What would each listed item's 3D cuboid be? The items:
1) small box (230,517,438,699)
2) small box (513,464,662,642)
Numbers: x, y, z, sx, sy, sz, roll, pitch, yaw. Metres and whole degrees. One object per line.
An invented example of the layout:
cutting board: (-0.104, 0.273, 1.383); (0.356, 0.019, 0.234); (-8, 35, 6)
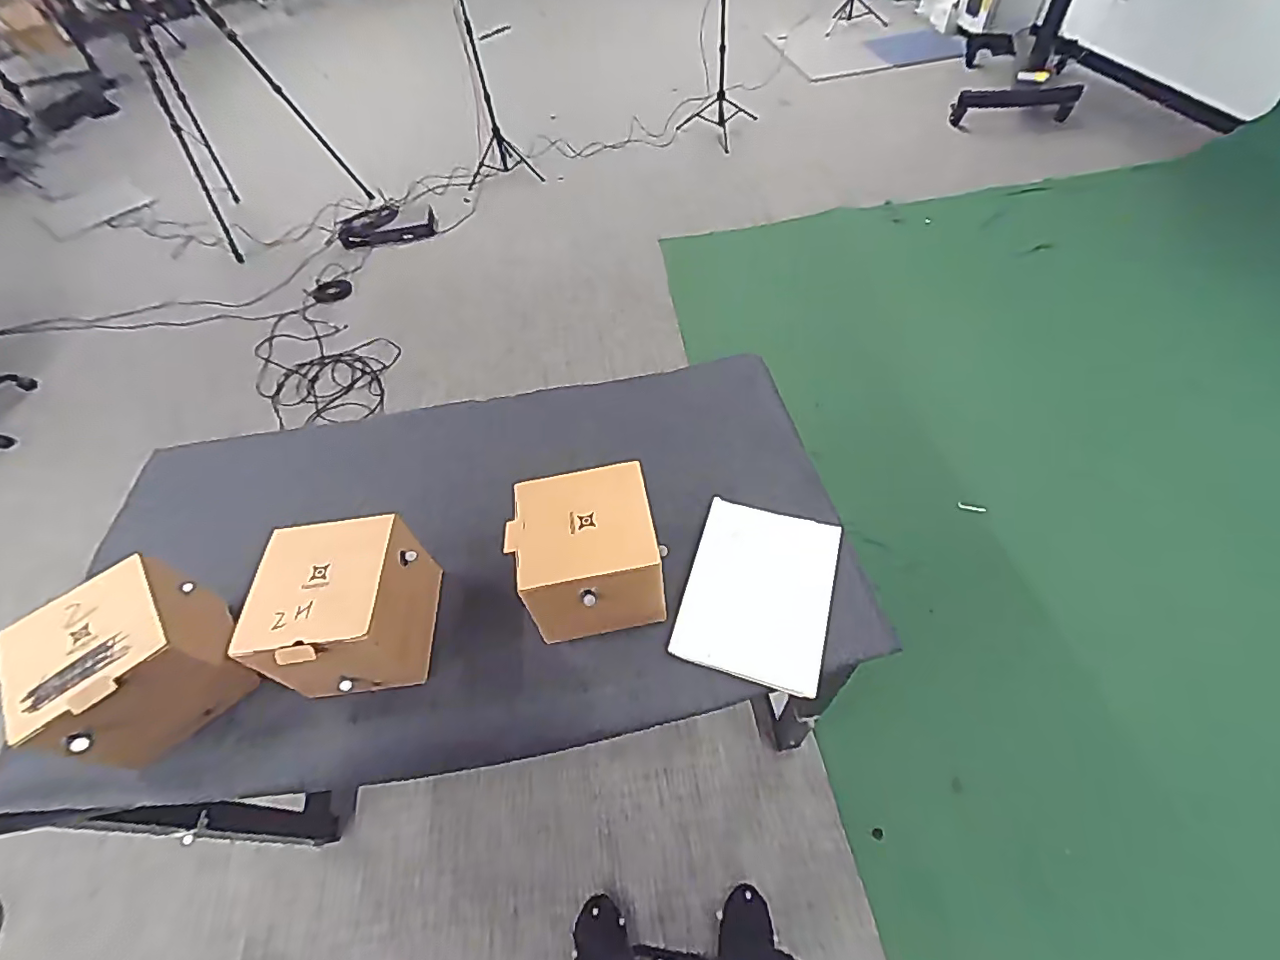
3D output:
small box: (-0.391, 0.175, 0.732); (0.168, 0.176, 0.179); (-8, 52, 1)
small box: (-0.068, 0.105, 0.750); (0.179, 0.176, 0.168); (-12, 52, -1)
